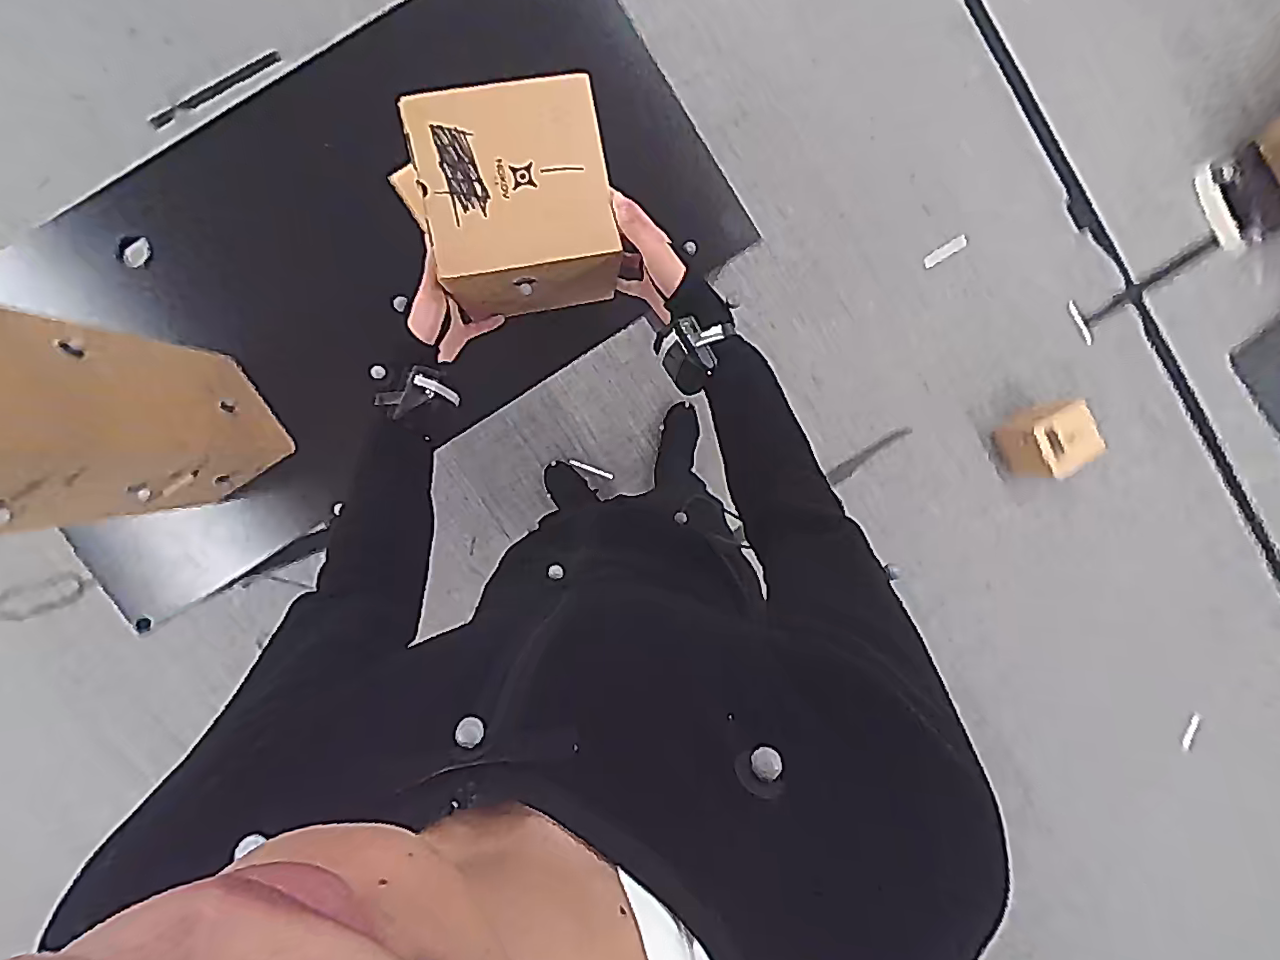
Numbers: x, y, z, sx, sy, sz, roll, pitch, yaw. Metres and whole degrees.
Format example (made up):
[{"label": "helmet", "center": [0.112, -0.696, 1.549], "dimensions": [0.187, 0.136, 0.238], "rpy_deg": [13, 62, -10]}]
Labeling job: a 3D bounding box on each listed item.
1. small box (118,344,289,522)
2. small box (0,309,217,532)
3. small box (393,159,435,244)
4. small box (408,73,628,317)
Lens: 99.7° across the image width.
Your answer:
[{"label": "small box", "center": [-0.658, -0.067, 0.773], "dimensions": [0.168, 0.176, 0.179], "rpy_deg": [-35, 96, -1]}, {"label": "small box", "center": [-0.648, -0.057, 0.609], "dimensions": [0.168, 0.176, 0.179], "rpy_deg": [-34, 95, 0]}, {"label": "small box", "center": [-0.212, -0.366, 0.782], "dimensions": [0.168, 0.176, 0.179], "rpy_deg": [-33, 95, -1]}, {"label": "small box", "center": [-0.117, -0.281, 0.571], "dimensions": [0.179, 0.176, 0.168], "rpy_deg": [-11, 95, -6]}]
